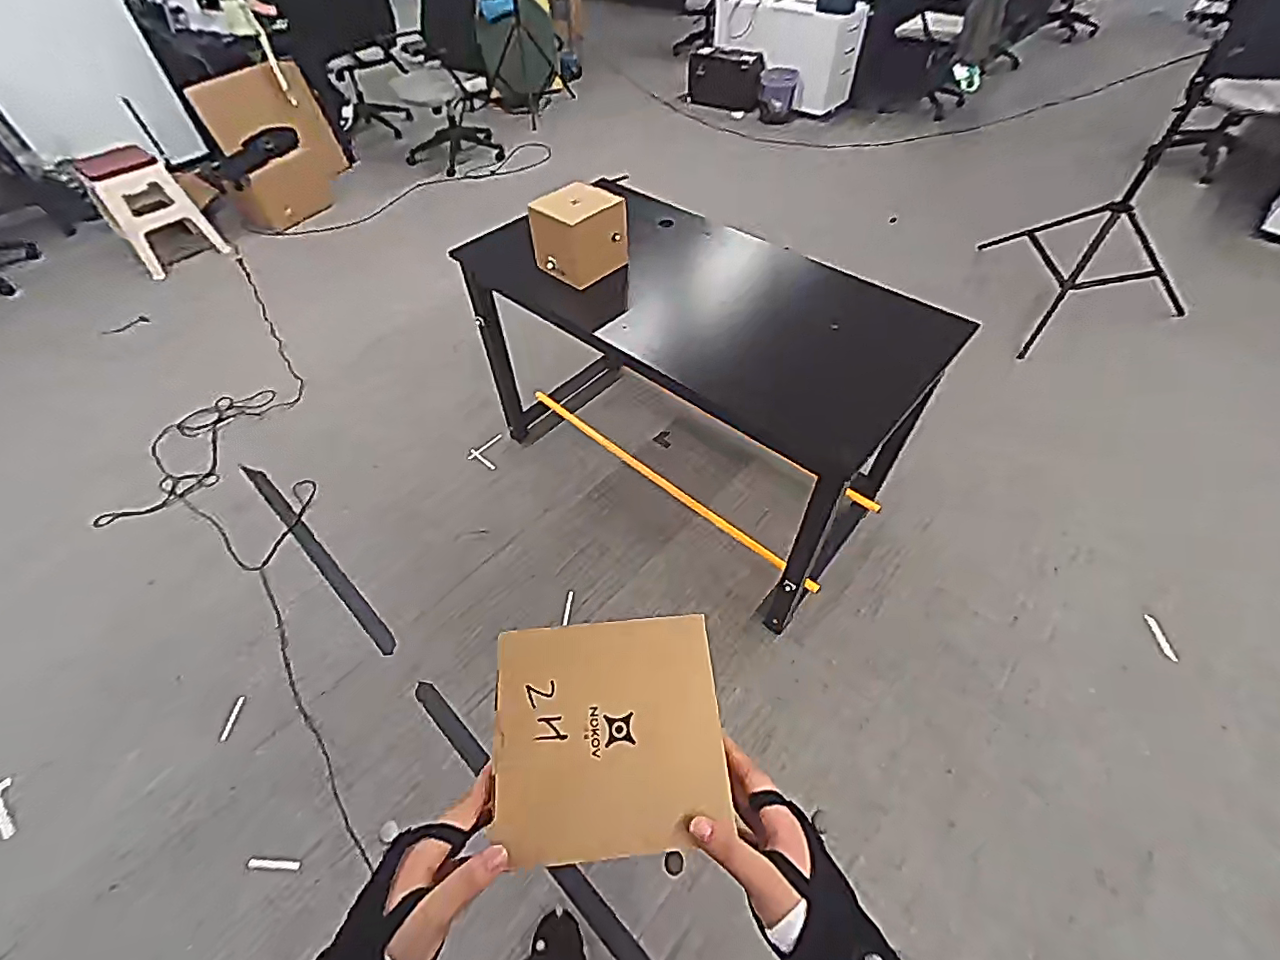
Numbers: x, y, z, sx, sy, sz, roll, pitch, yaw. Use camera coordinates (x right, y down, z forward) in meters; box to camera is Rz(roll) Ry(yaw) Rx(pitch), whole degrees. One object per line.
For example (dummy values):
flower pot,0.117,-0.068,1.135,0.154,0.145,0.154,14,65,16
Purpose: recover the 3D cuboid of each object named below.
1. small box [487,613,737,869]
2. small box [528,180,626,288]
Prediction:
small box,-0.027,0.225,0.478,0.179,0.176,0.168,-4,61,-4
small box,-0.151,-0.610,1.344,0.168,0.176,0.179,34,60,26
